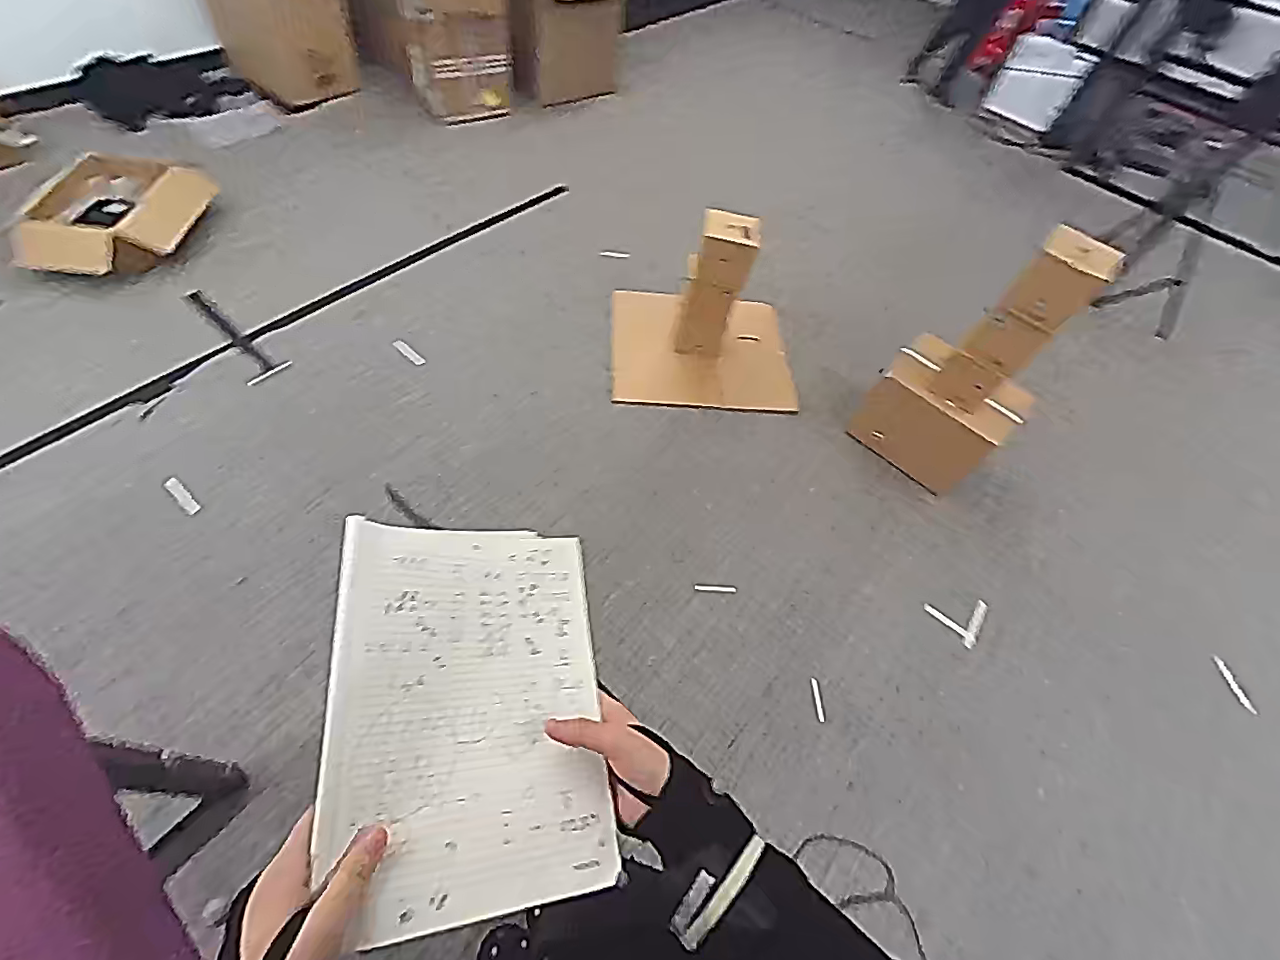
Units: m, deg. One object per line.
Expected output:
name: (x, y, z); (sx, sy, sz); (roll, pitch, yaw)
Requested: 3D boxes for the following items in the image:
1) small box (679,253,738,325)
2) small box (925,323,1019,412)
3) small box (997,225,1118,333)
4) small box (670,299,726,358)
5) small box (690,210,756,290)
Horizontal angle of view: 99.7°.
small box: (0.240, -0.681, 1.940); (0.179, 0.176, 0.168); (8, 56, -6)
small box: (1.020, -0.344, 1.673); (0.168, 0.176, 0.179); (35, 58, 13)
small box: (1.071, -0.516, 1.397); (0.168, 0.176, 0.179); (37, 60, 15)
small box: (0.220, -0.592, 2.075); (0.179, 0.176, 0.168); (7, 56, -7)
small box: (0.276, -0.759, 1.798); (0.179, 0.176, 0.168); (10, 55, -4)
